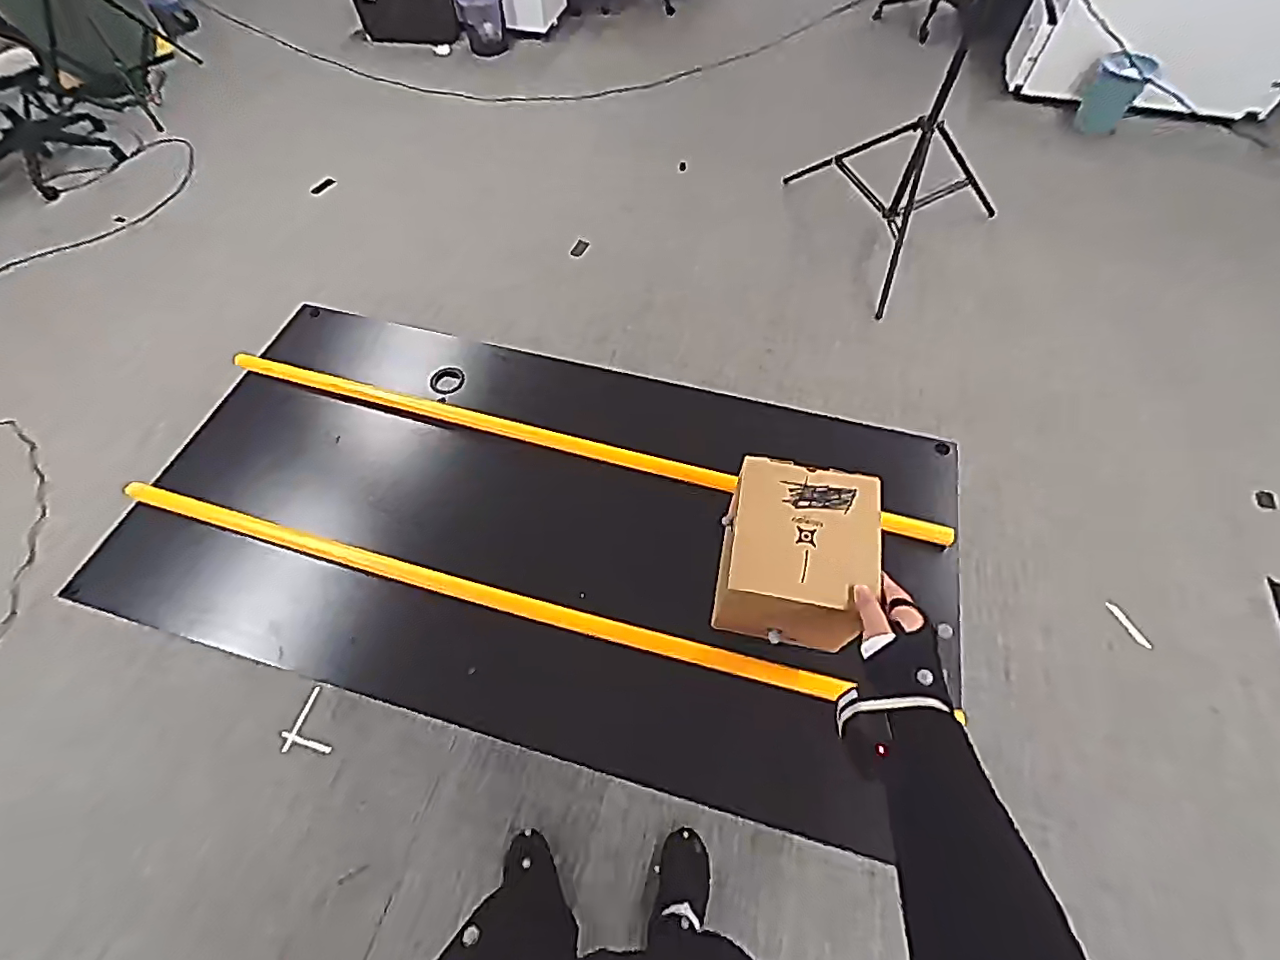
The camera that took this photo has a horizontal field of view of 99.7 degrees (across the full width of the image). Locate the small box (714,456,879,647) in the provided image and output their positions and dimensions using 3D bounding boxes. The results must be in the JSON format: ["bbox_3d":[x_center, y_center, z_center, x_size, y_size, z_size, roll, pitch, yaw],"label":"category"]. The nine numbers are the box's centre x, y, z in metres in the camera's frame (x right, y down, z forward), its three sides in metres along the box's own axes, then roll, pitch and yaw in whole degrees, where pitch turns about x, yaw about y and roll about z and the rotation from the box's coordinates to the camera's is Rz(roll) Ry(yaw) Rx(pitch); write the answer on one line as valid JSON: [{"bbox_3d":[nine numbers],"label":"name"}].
[{"bbox_3d":[0.194,0.097,0.697,0.168,0.176,0.179,10,61,7],"label":"small box"}]
